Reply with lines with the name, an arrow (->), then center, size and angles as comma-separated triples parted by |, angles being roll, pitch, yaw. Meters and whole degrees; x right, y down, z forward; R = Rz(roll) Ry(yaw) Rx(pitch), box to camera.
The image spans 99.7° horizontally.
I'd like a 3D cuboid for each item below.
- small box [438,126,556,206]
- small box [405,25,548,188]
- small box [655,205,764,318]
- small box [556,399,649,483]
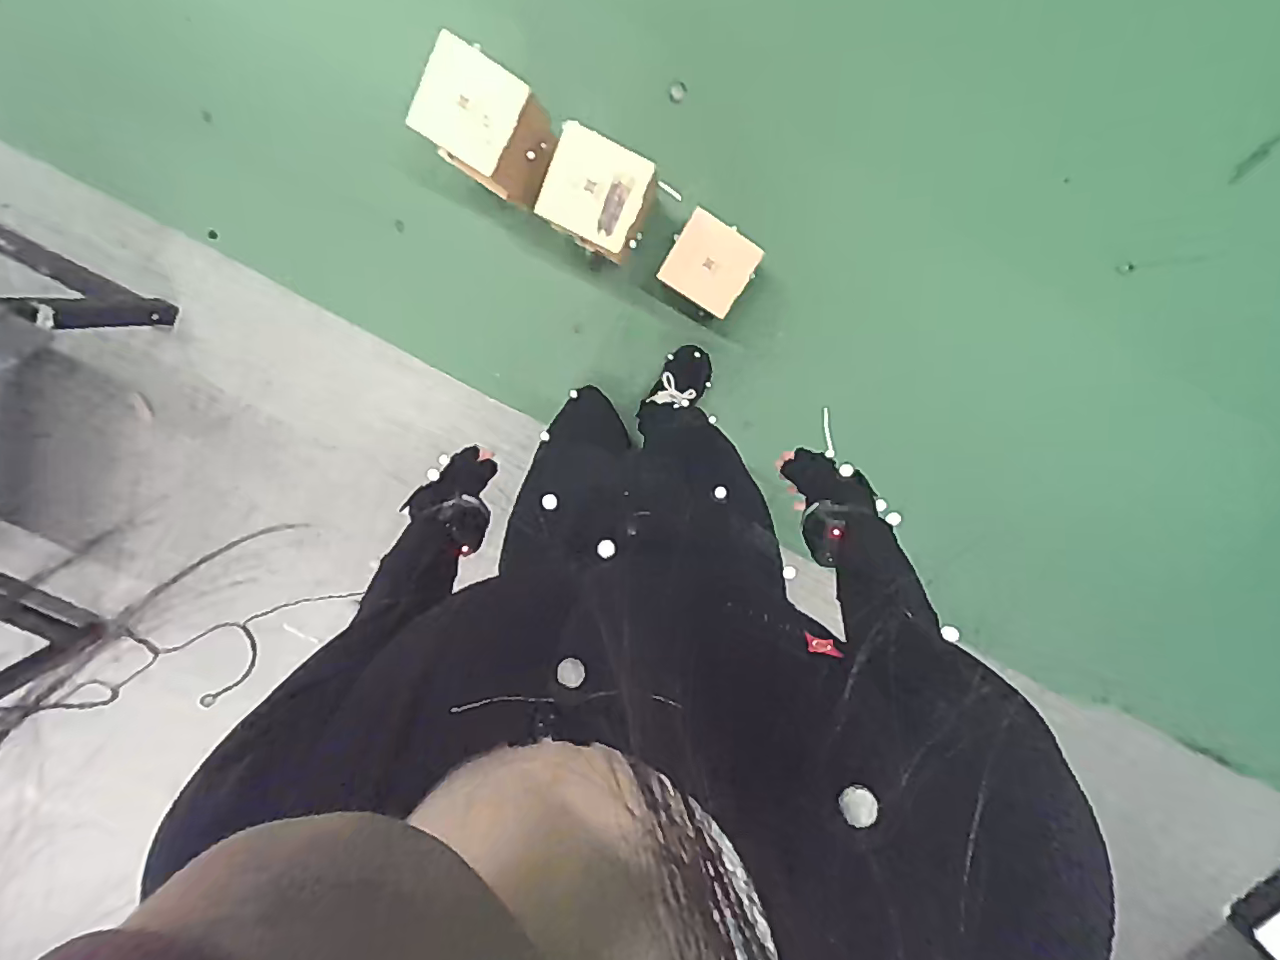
small box -> -0.302, -0.731, 1.179 | 0.168, 0.176, 0.179 | 33, 106, -7
small box -> -0.299, -0.686, 1.020 | 0.179, 0.176, 0.168 | 32, 107, -6
small box -> 0.152, -0.489, 1.229 | 0.179, 0.176, 0.168 | 32, 106, -7
small box -> -0.097, -0.104, 1.366 | 0.179, 0.176, 0.168 | 18, 107, 16
